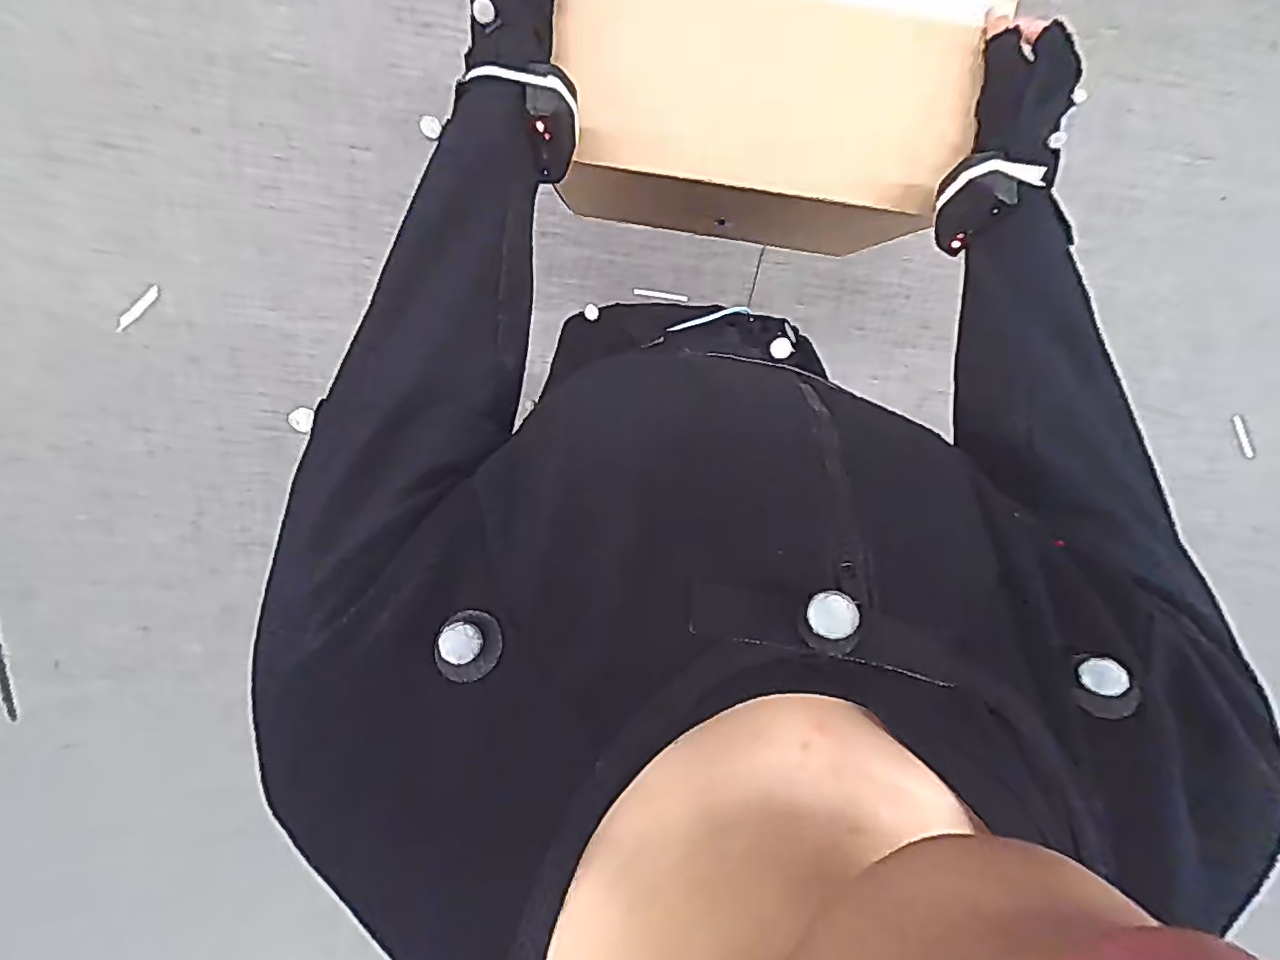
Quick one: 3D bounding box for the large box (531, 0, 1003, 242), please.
[{"bbox_3d":[0.120,-0.473,0.606,0.408,0.320,0.320,9,106,-1],"label":"large box"}]
